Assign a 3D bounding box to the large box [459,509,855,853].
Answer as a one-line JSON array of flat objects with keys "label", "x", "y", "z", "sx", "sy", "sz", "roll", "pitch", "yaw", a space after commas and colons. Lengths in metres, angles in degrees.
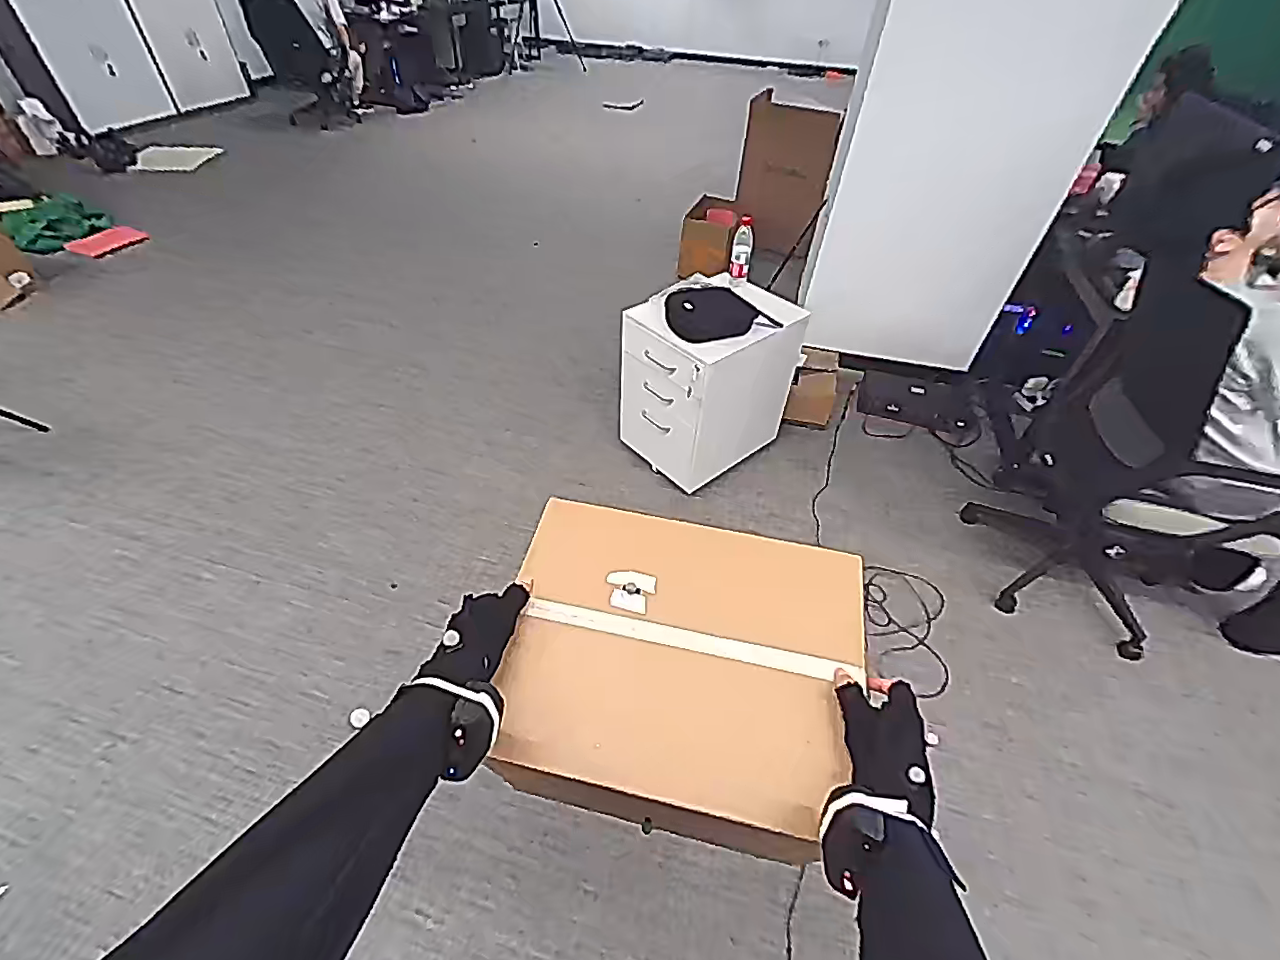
[{"label": "large box", "x": 0.041, "y": 0.277, "z": 0.733, "sx": 0.408, "sy": 0.320, "sz": 0.320, "roll": 10, "pitch": 53, "yaw": 8}]
